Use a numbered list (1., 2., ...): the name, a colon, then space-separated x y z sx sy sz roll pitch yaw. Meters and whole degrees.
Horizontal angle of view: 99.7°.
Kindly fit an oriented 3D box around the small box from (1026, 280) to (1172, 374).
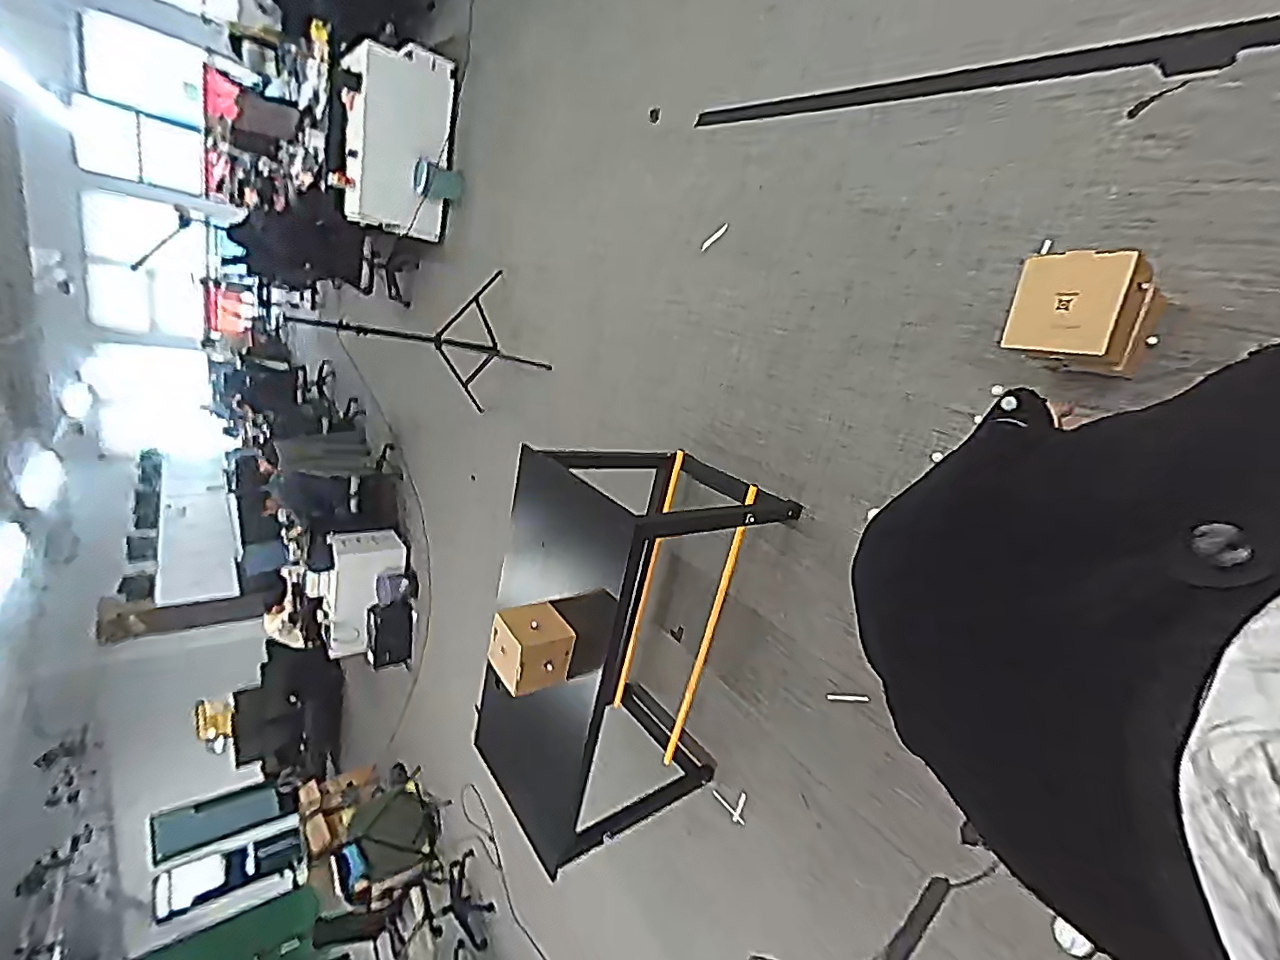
1. small box: 0.957 -0.322 1.129 0.179 0.176 0.168 28 113 45

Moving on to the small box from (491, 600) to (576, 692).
1. small box: -0.301 0.459 1.532 0.179 0.176 0.168 34 117 44

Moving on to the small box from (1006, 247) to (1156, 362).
1. small box: 0.834 -0.327 1.021 0.168 0.176 0.179 24 111 48
